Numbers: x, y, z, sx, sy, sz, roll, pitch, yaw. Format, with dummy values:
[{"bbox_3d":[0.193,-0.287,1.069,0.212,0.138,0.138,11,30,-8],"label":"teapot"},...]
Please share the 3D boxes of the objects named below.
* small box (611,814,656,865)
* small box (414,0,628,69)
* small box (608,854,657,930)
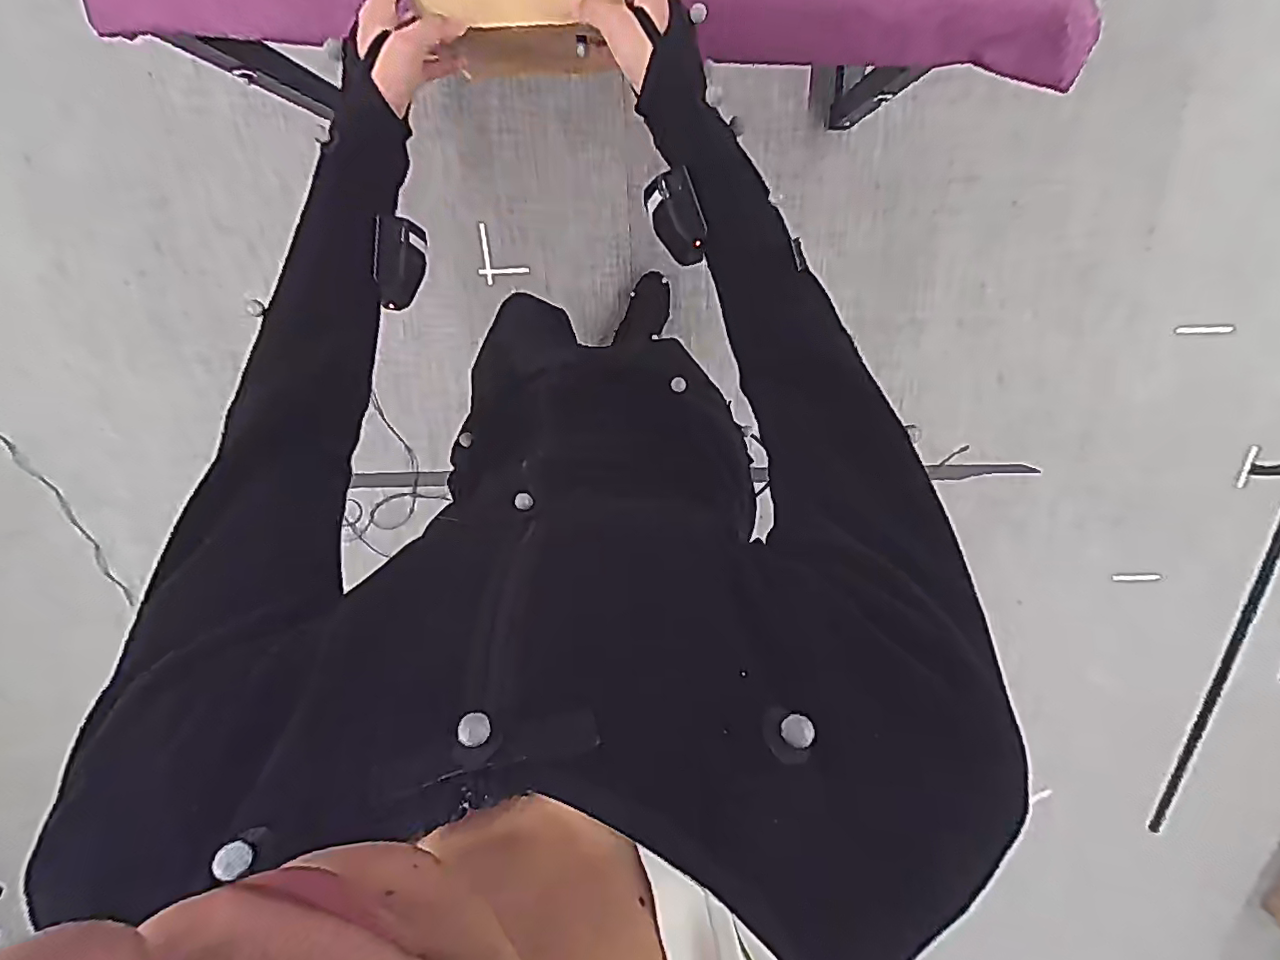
[{"bbox_3d":[-0.025,1.475,2.175,0.179,0.176,0.168,-1,111,1],"label":"small box"},{"bbox_3d":[-0.102,-0.486,0.481,0.179,0.176,0.168,-4,116,-2],"label":"small box"},{"bbox_3d":[-0.024,1.535,2.022,0.179,0.176,0.168,1,112,1],"label":"small box"}]
